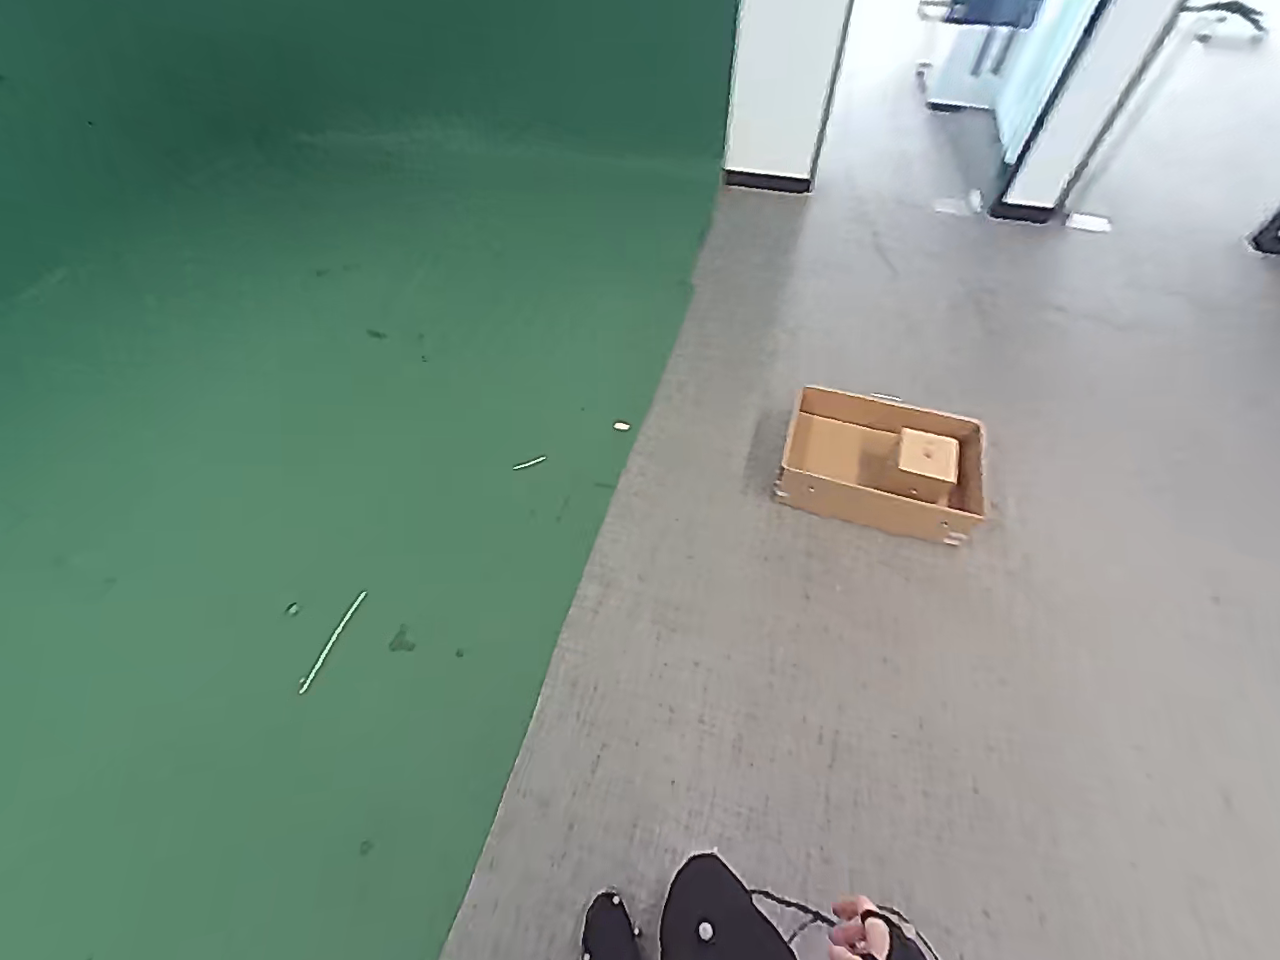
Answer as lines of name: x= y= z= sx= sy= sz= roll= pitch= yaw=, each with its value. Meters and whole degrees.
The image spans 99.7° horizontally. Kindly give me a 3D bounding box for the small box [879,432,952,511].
small box: x=0.896 y=-0.023 z=1.766 sx=0.168 sy=0.176 sz=0.179 roll=16 pitch=57 yaw=12
